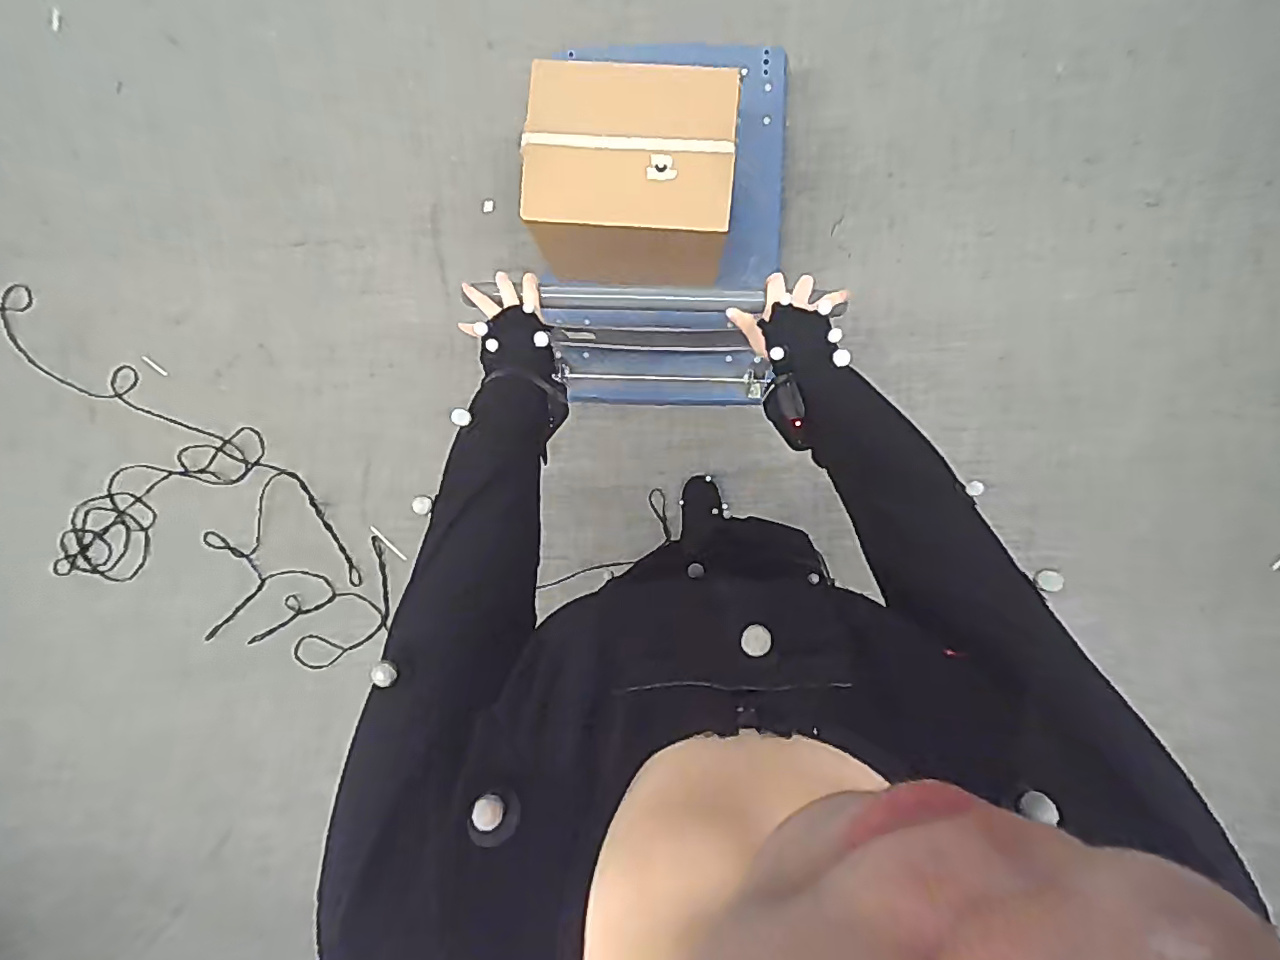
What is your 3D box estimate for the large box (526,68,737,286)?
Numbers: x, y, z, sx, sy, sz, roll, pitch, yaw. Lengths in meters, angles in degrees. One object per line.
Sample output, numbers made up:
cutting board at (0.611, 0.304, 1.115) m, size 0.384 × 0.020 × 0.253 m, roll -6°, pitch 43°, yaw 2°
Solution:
large box at (-0.015, -0.645, 1.203) m, size 0.408 × 0.320 × 0.320 m, roll 4°, pitch 90°, yaw 2°
